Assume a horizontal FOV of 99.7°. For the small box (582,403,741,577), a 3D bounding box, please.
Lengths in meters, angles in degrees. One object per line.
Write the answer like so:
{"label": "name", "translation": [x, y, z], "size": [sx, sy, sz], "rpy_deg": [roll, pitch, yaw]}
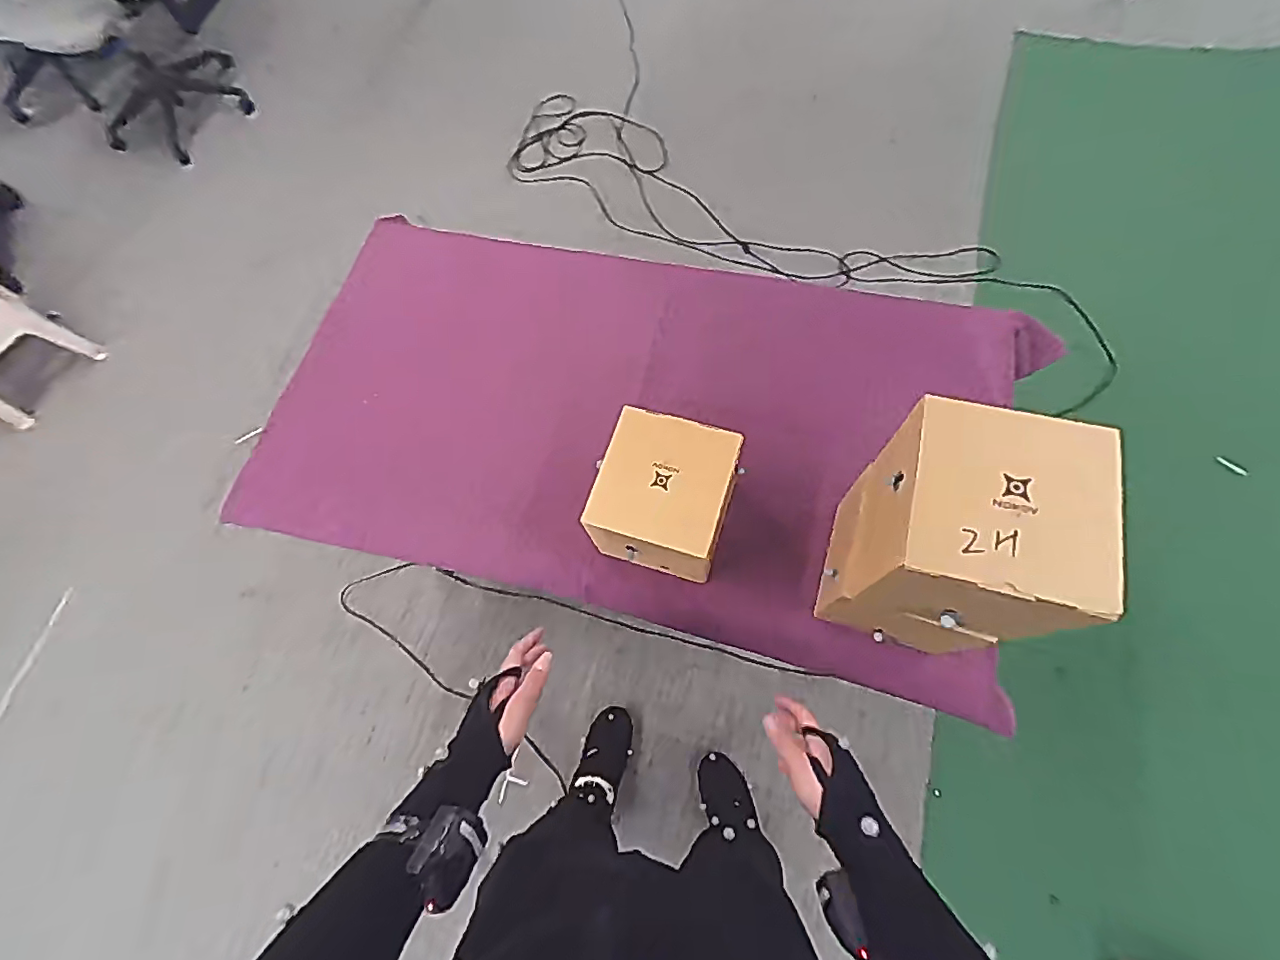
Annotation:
{"label": "small box", "translation": [0.038, 0.023, 0.760], "size": [0.168, 0.176, 0.179], "rpy_deg": [15, 70, 12]}

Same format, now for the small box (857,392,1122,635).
{"label": "small box", "translation": [0.332, 0.042, 0.542], "size": [0.168, 0.176, 0.179], "rpy_deg": [14, 71, 12]}
